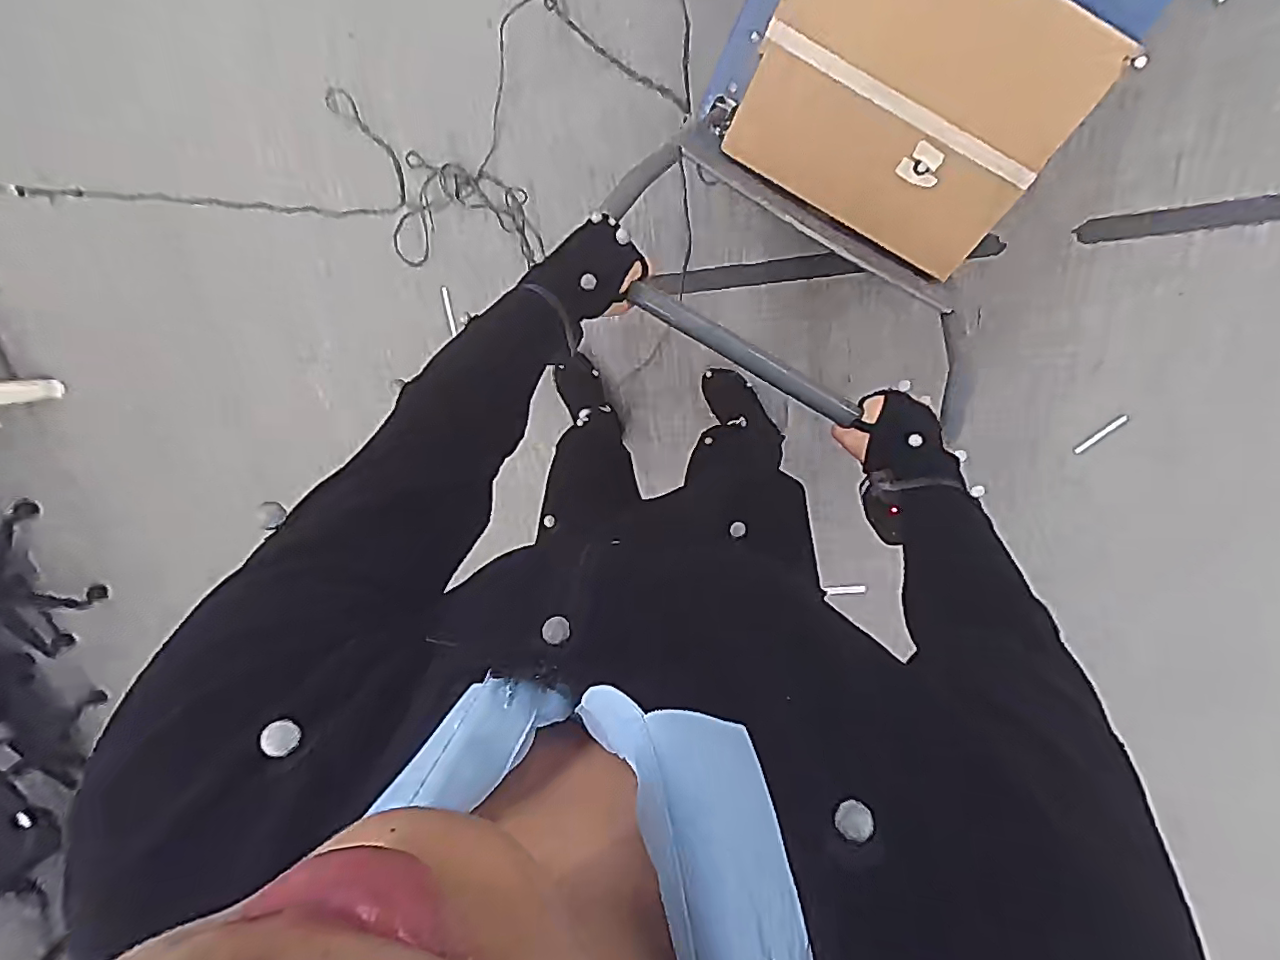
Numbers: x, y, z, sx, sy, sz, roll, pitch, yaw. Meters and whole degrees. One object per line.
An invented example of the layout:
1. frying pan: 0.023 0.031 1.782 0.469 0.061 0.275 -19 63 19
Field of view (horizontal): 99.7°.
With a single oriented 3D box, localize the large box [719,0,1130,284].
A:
1. large box: 0.388 -0.579 0.838 0.408 0.320 0.320 29 132 -3
